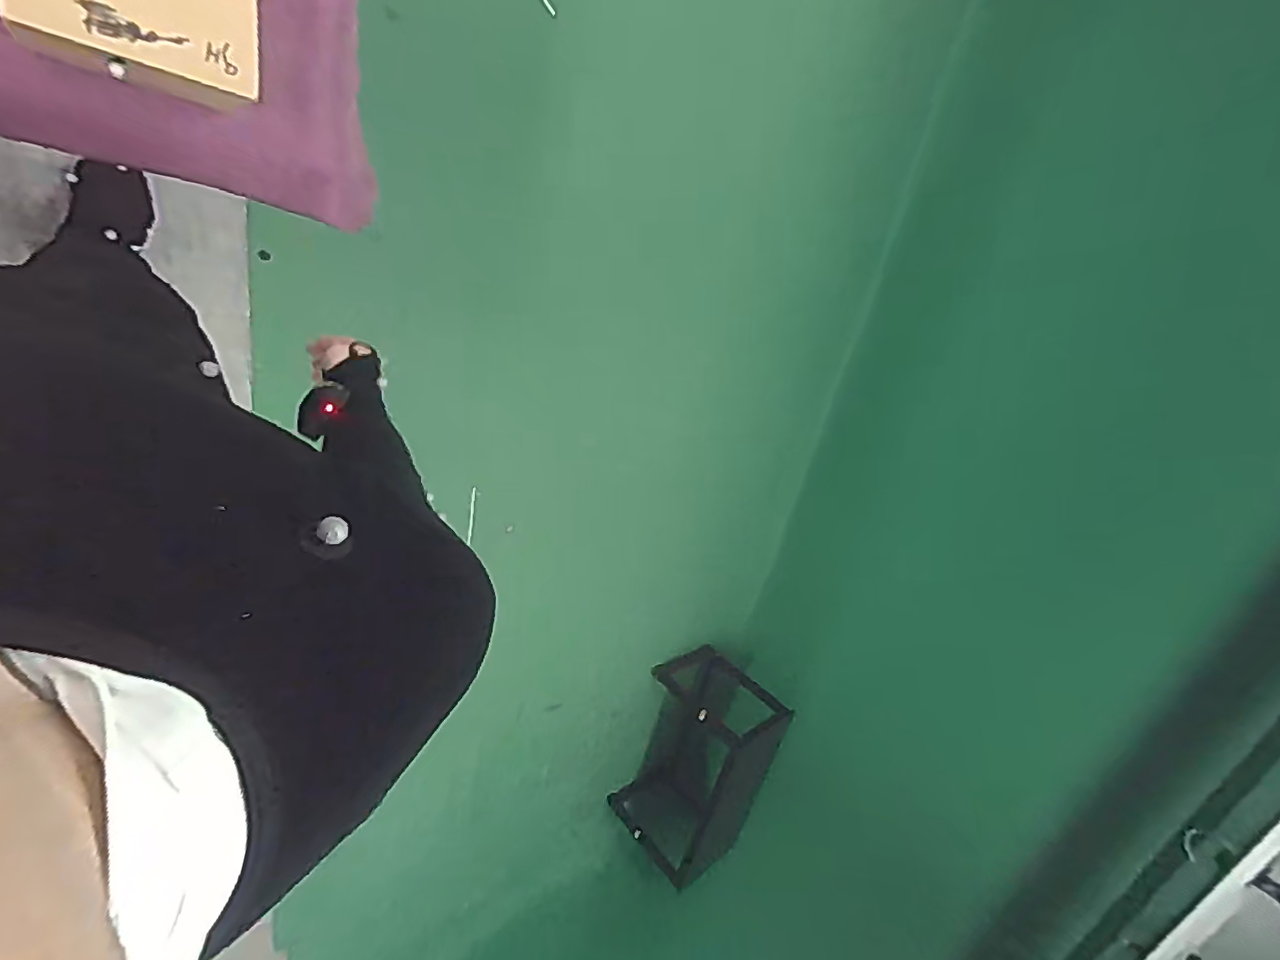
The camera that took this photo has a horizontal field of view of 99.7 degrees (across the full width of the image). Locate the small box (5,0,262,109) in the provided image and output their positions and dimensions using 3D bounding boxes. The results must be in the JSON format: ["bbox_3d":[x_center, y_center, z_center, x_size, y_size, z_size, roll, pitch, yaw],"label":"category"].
[{"bbox_3d":[-0.460,-0.469,0.490,0.168,0.176,0.179,-6,116,-44],"label":"small box"}]
